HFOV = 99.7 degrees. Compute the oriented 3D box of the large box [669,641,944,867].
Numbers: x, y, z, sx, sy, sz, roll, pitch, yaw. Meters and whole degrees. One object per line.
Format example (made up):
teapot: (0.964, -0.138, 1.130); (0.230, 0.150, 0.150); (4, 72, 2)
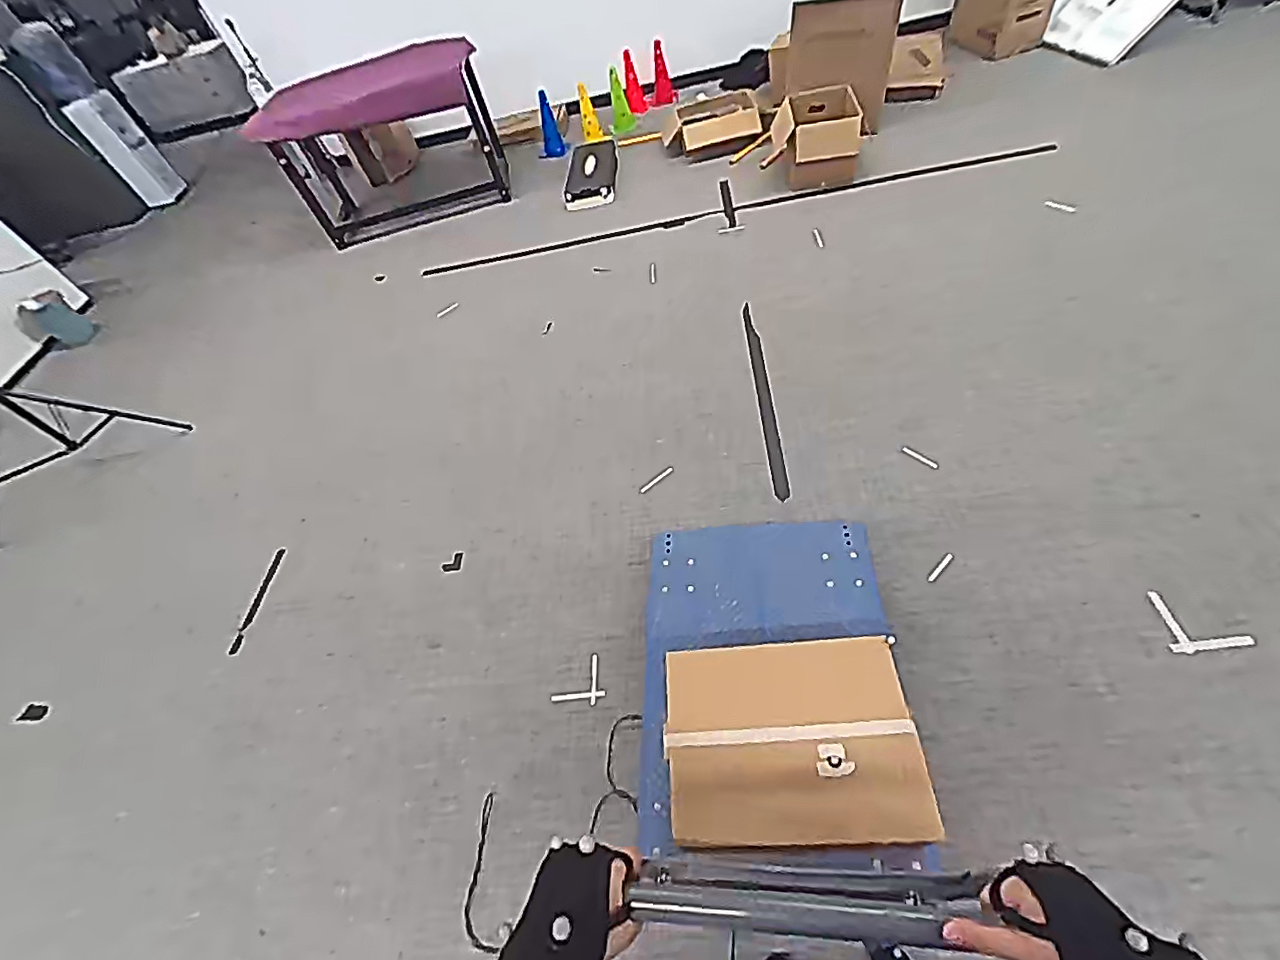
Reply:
large box: (0.278, 0.529, 1.025); (0.408, 0.320, 0.320); (-7, 52, 8)
